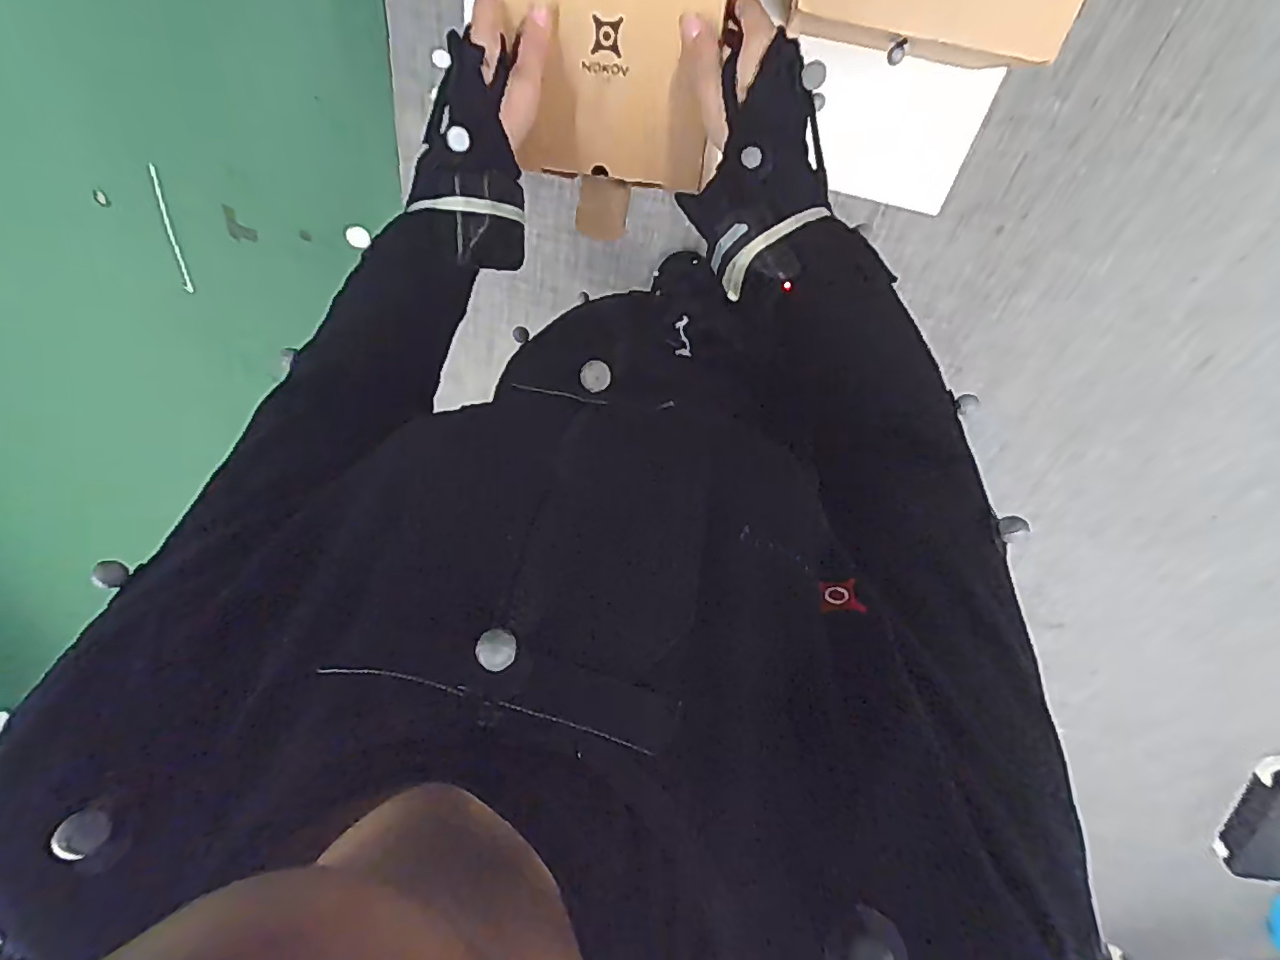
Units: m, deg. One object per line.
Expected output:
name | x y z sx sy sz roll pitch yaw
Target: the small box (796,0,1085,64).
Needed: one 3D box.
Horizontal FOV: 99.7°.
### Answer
small box | 0.216 -0.403 0.372 0.179 0.176 0.168 14 128 3
